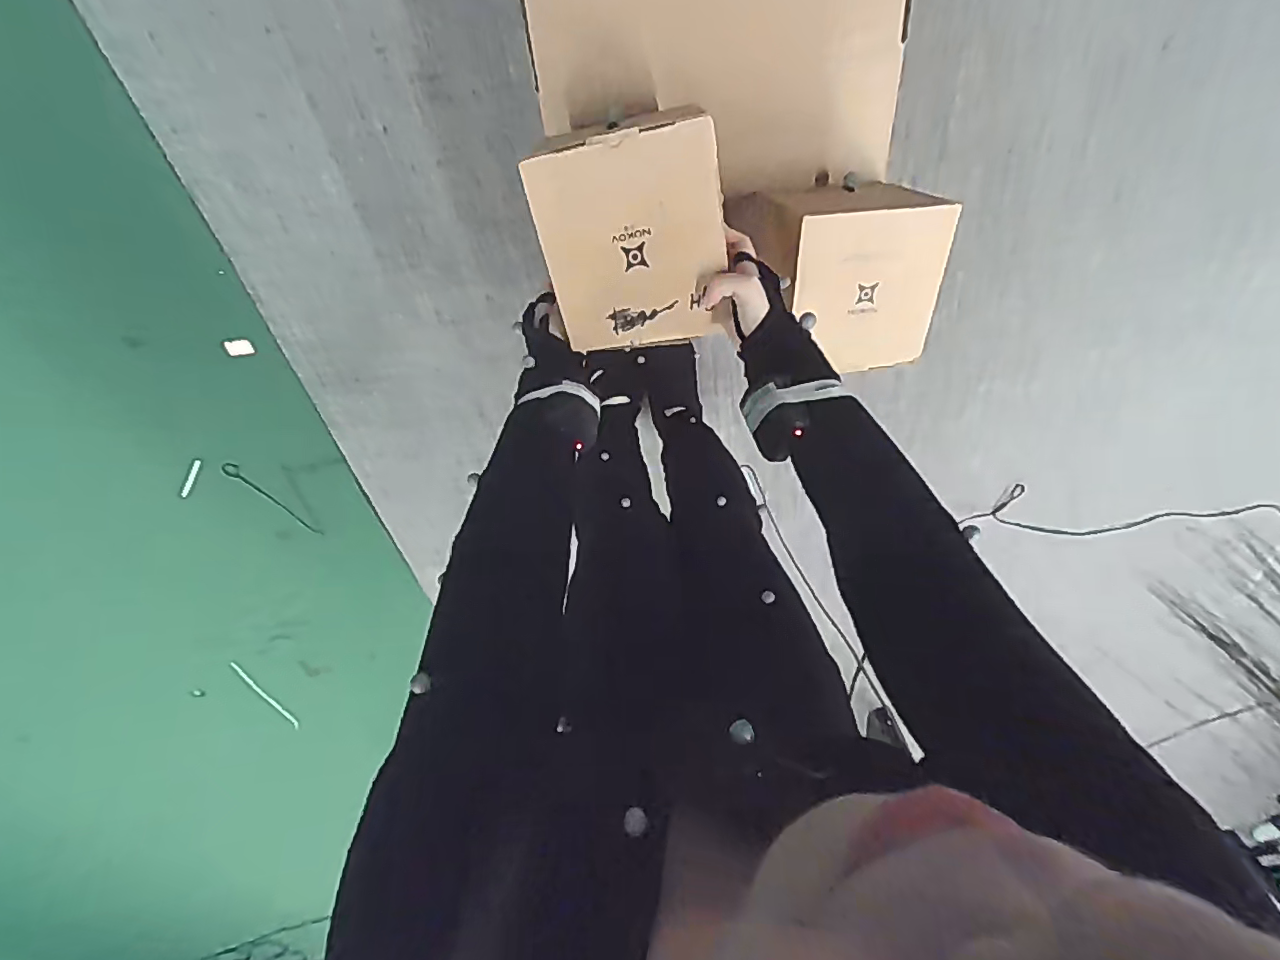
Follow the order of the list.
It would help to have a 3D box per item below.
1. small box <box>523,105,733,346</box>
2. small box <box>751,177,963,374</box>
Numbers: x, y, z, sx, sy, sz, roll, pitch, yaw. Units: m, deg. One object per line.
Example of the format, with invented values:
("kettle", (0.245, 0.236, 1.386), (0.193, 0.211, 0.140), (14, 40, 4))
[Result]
("small box", (-0.006, -0.262, 0.550), (0.168, 0.176, 0.179), (-10, 126, 6))
("small box", (0.235, -0.246, 0.642), (0.168, 0.176, 0.179), (-6, 126, -3))
